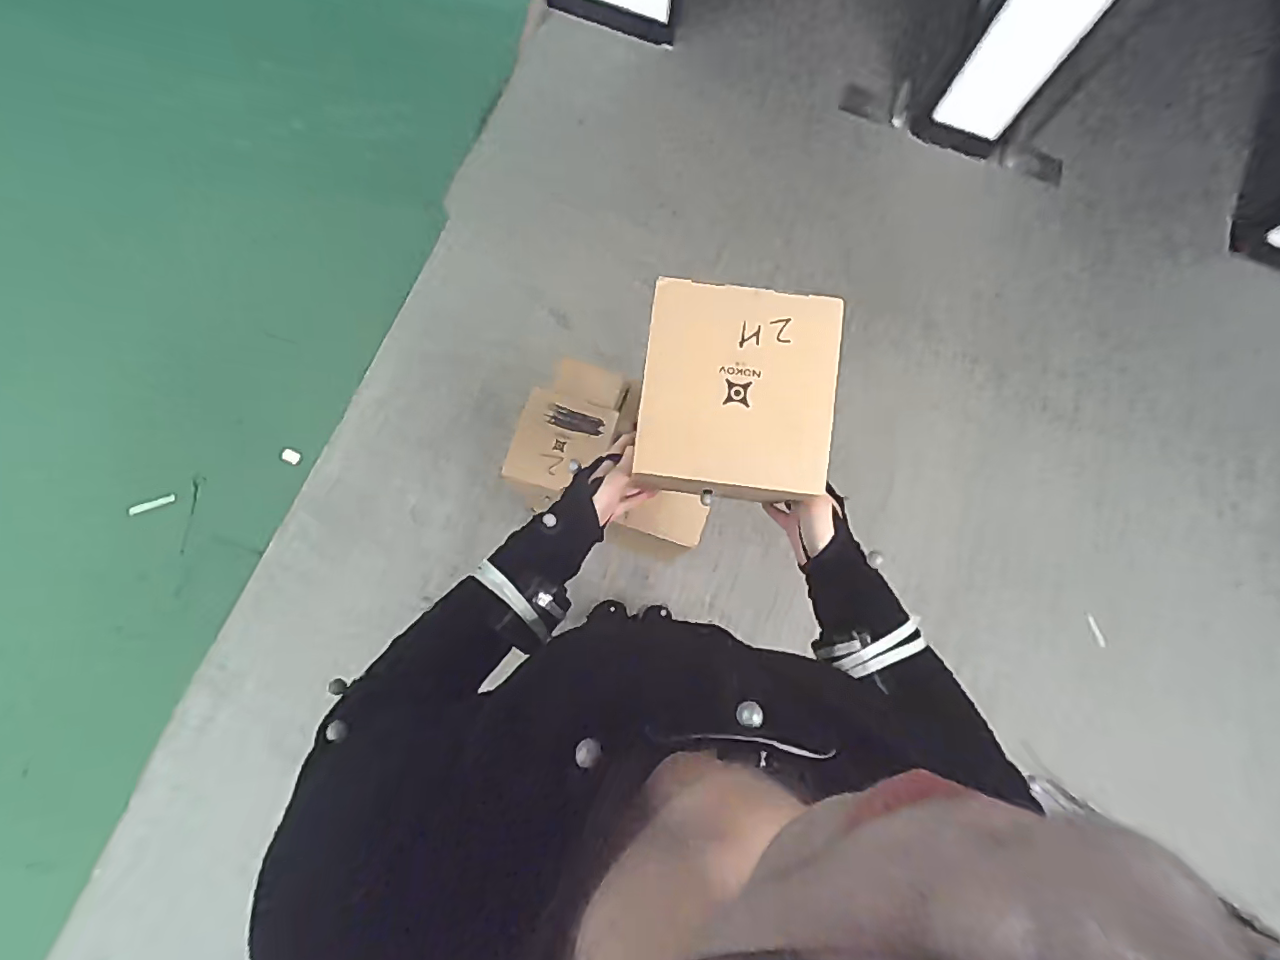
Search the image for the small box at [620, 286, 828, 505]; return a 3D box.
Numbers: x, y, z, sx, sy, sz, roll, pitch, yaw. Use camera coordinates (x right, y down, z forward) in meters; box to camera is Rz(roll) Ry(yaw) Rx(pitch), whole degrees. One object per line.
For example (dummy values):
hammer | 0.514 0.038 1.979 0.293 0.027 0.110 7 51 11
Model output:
small box | 0.075 -0.071 0.555 0.168 0.176 0.179 8 85 0
